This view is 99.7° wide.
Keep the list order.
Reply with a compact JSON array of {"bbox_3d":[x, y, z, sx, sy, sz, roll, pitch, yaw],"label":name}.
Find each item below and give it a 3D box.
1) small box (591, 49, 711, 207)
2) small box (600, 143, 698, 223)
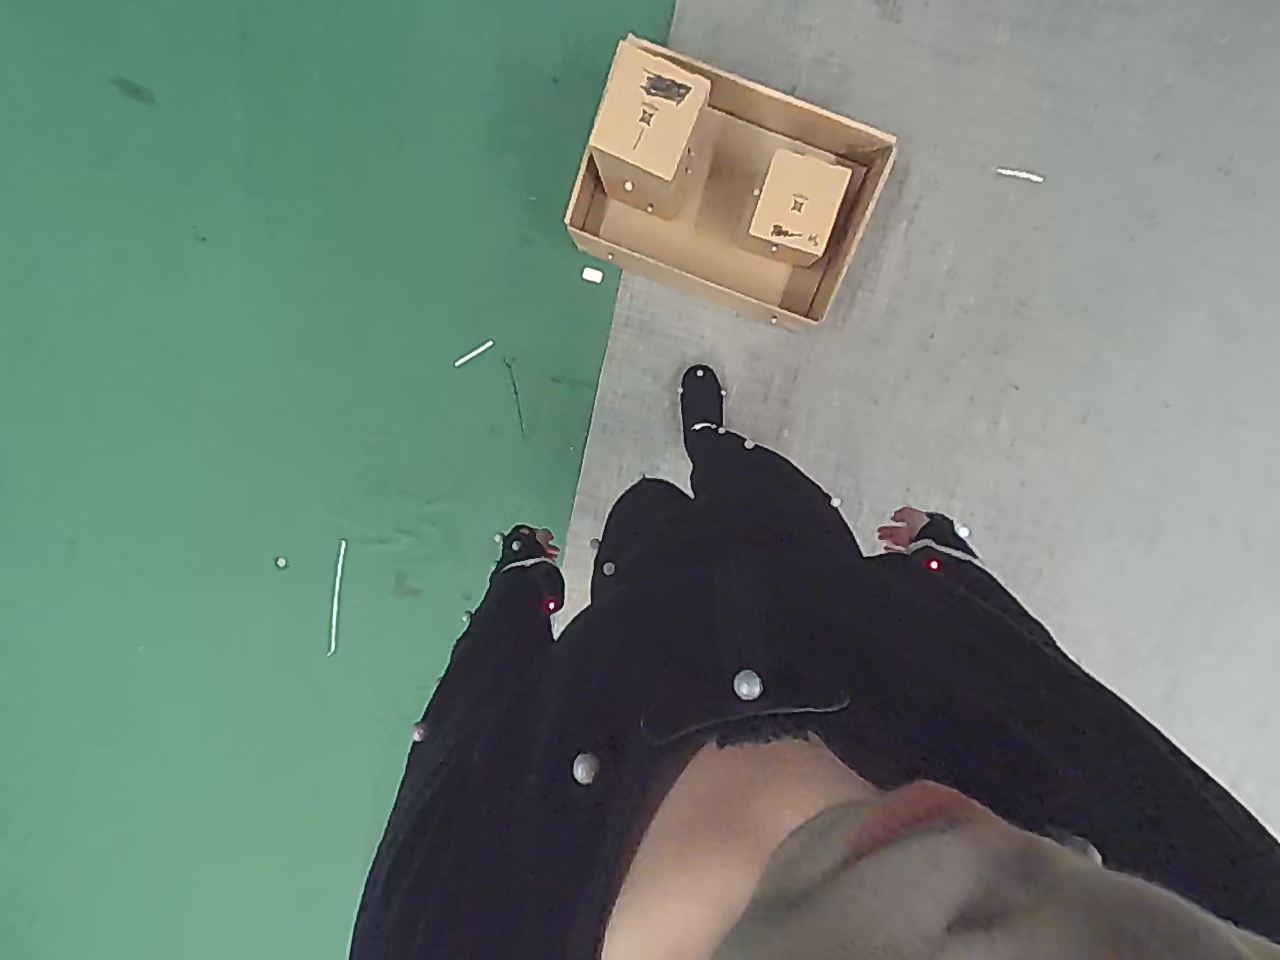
[{"bbox_3d":[0.019,-0.659,1.036,0.168,0.176,0.179,23,104,-3],"label":"small box"},{"bbox_3d":[0.025,-0.698,1.195,0.168,0.176,0.179,22,102,-3],"label":"small box"}]
